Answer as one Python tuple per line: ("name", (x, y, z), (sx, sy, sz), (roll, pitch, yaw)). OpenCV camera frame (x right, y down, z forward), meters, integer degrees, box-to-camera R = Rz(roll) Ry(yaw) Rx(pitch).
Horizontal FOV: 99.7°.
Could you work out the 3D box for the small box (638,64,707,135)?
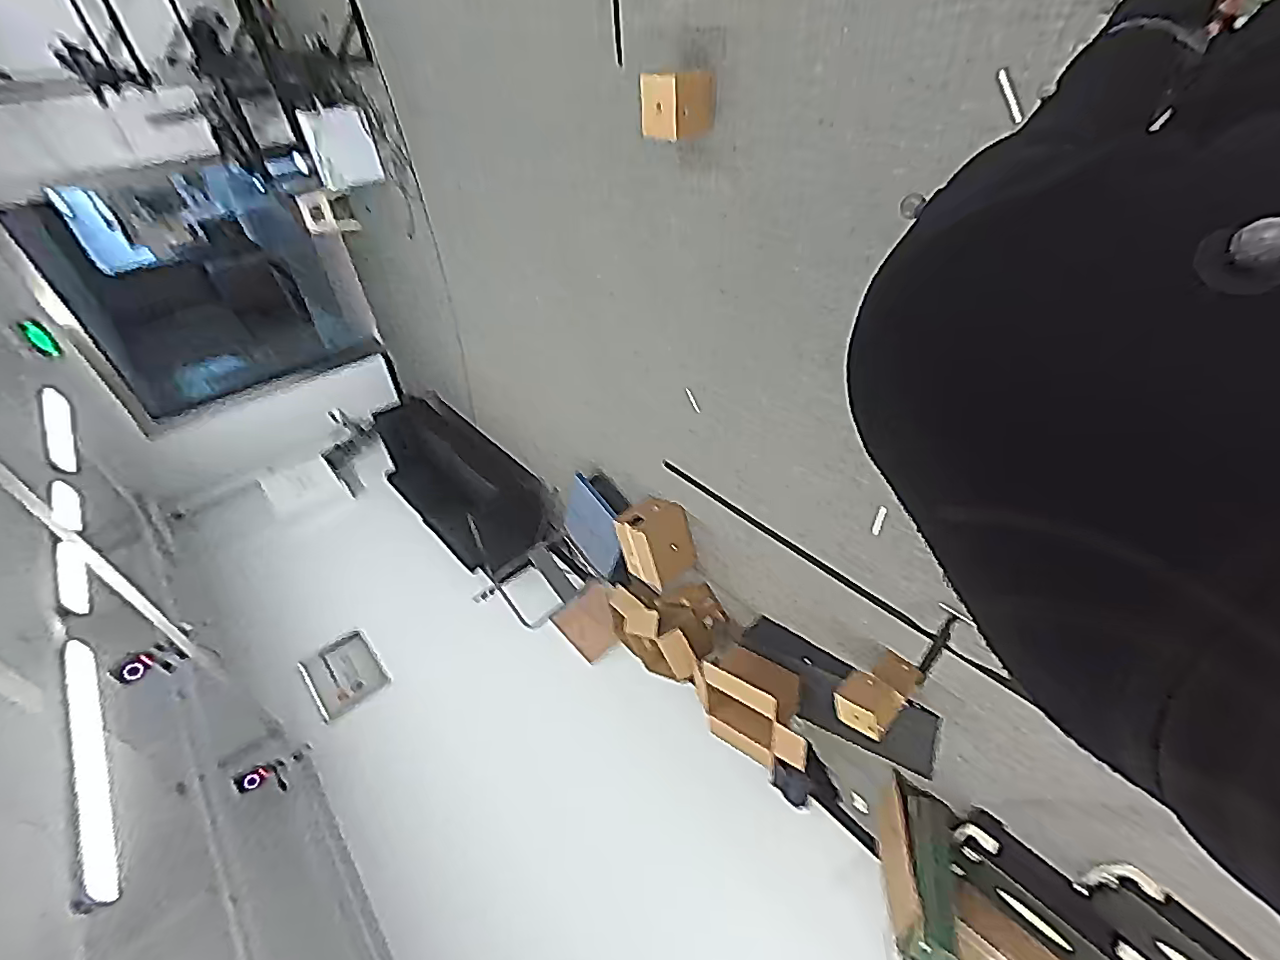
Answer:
("small box", (0.112, -1.277, 1.807), (0.168, 0.176, 0.179), (34, 144, 36))
